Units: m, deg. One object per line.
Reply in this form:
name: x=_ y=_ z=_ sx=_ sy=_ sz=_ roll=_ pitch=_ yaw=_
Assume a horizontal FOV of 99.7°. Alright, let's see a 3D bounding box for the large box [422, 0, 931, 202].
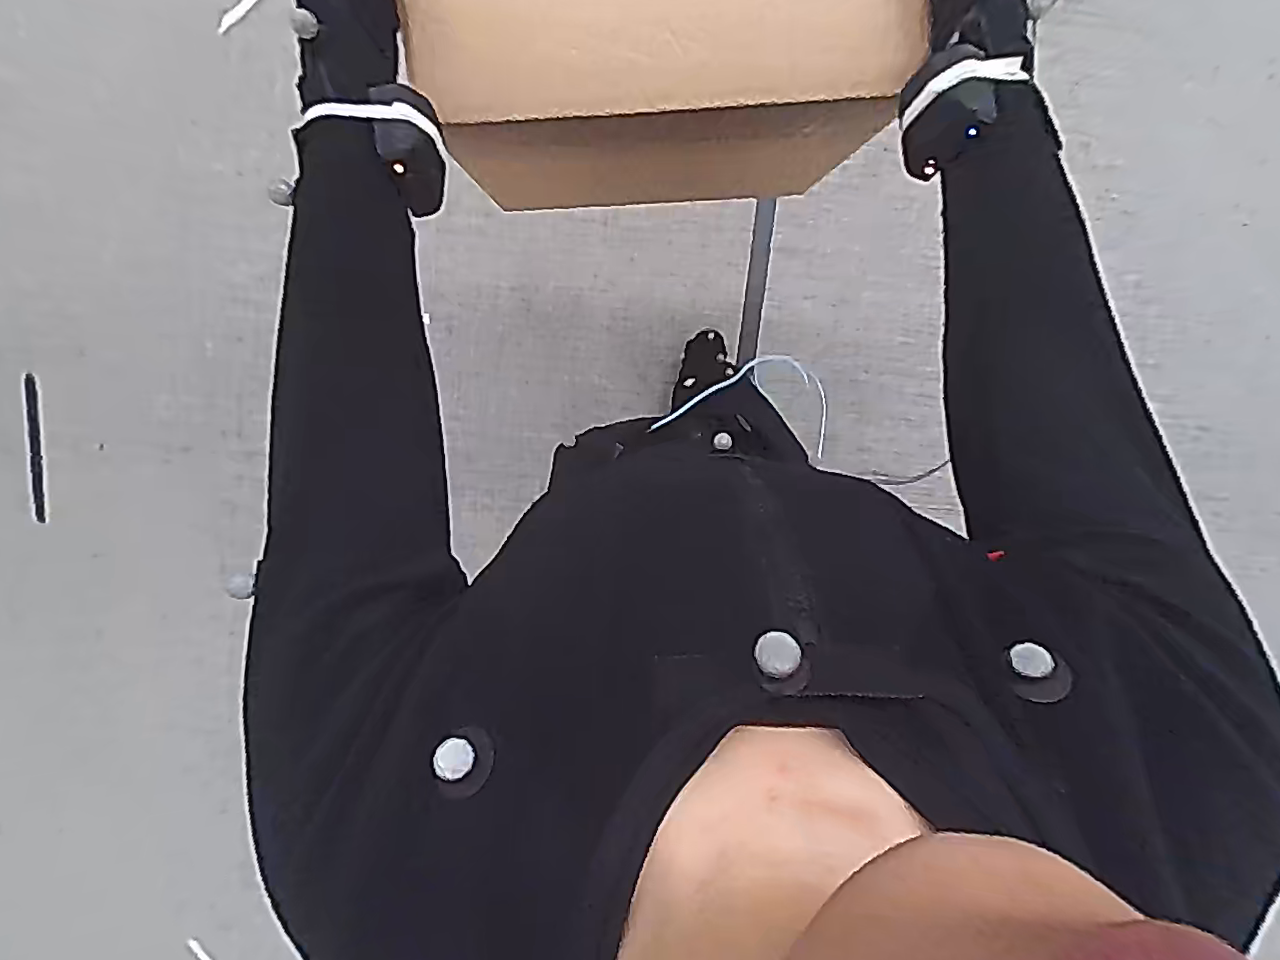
large box: x=0.020 y=-0.490 z=0.539 sx=0.408 sy=0.320 sz=0.320 roll=-3 pitch=105 yaw=-1
